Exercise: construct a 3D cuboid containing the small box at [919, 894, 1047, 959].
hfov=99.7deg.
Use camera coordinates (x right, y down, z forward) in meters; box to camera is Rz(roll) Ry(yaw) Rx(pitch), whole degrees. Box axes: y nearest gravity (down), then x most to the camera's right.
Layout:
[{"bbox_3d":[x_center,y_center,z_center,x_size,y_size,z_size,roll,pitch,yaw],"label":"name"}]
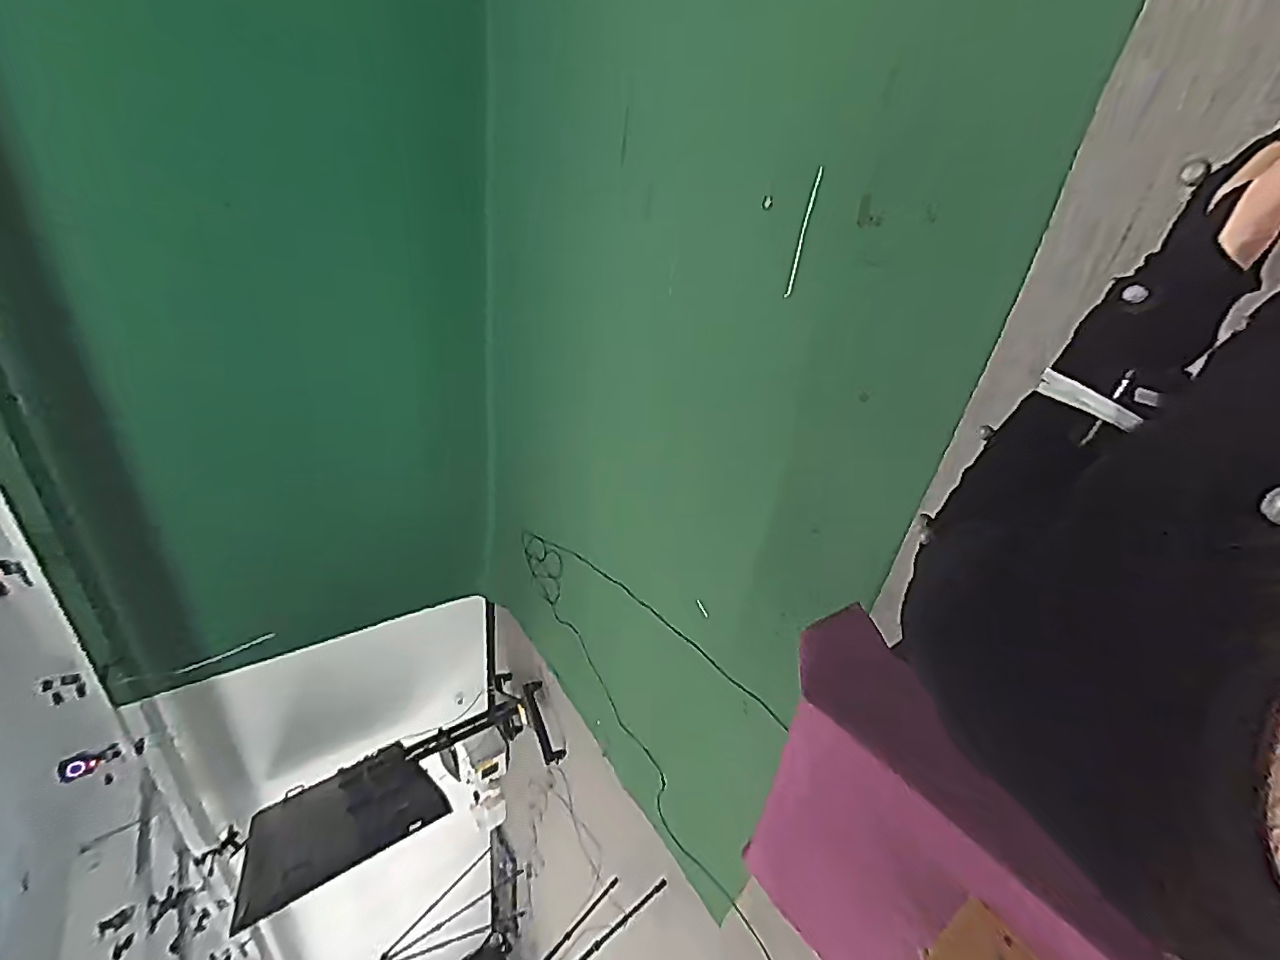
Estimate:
[{"bbox_3d":[0.518,0.785,0.814,0.168,0.176,0.179,36,129,43],"label":"small box"}]
